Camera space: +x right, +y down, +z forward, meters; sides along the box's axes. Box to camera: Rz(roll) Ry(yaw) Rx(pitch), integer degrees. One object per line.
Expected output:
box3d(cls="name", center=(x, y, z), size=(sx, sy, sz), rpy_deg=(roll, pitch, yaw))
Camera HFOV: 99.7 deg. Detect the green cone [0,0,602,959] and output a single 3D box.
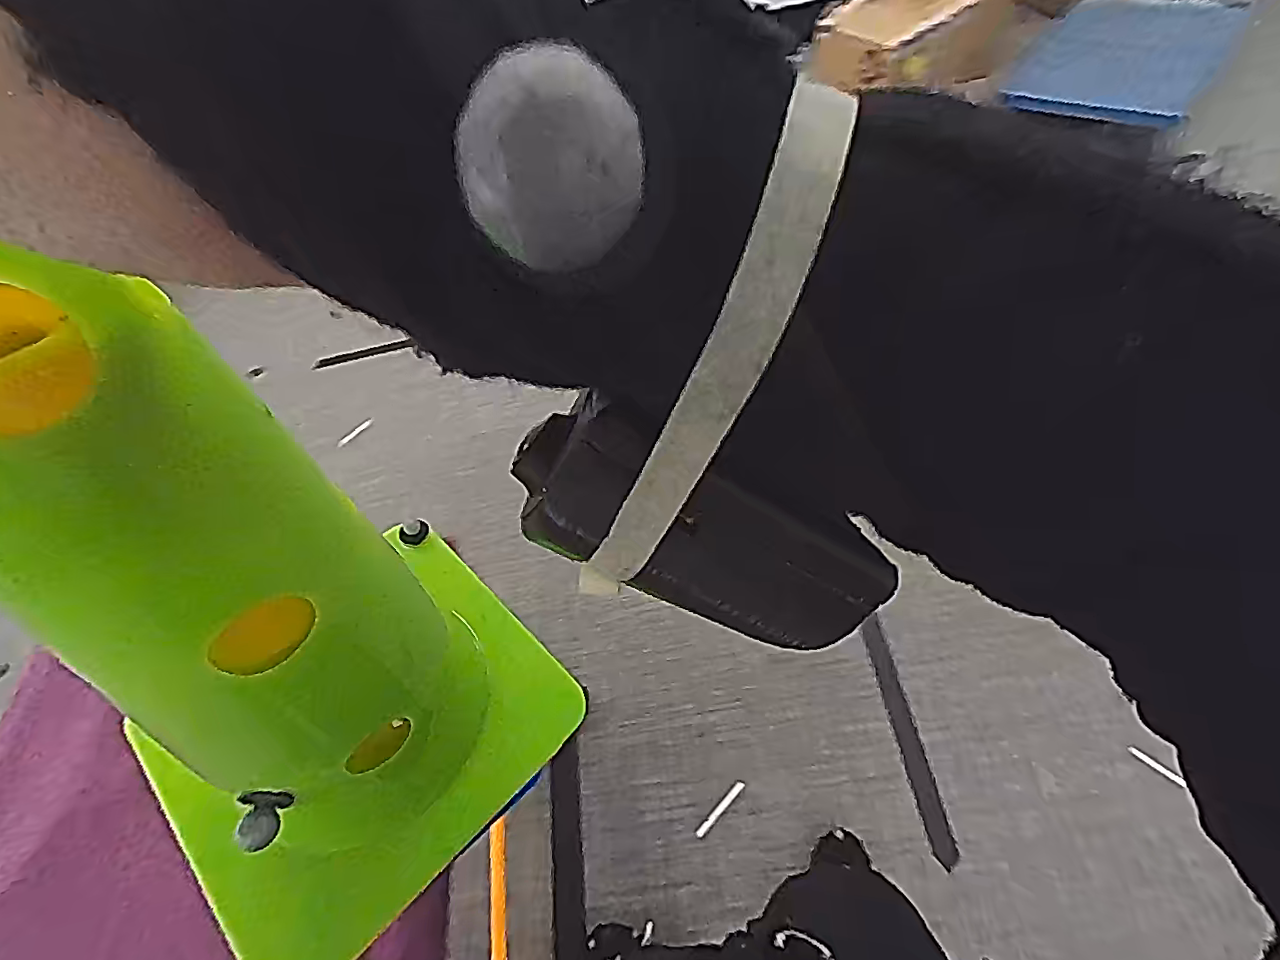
box3d(cls="green cone", center=(-0.133, 0.019, 0.186), size=(0.202, 0.368, 0.200), rpy_deg=(39, 58, 20))
